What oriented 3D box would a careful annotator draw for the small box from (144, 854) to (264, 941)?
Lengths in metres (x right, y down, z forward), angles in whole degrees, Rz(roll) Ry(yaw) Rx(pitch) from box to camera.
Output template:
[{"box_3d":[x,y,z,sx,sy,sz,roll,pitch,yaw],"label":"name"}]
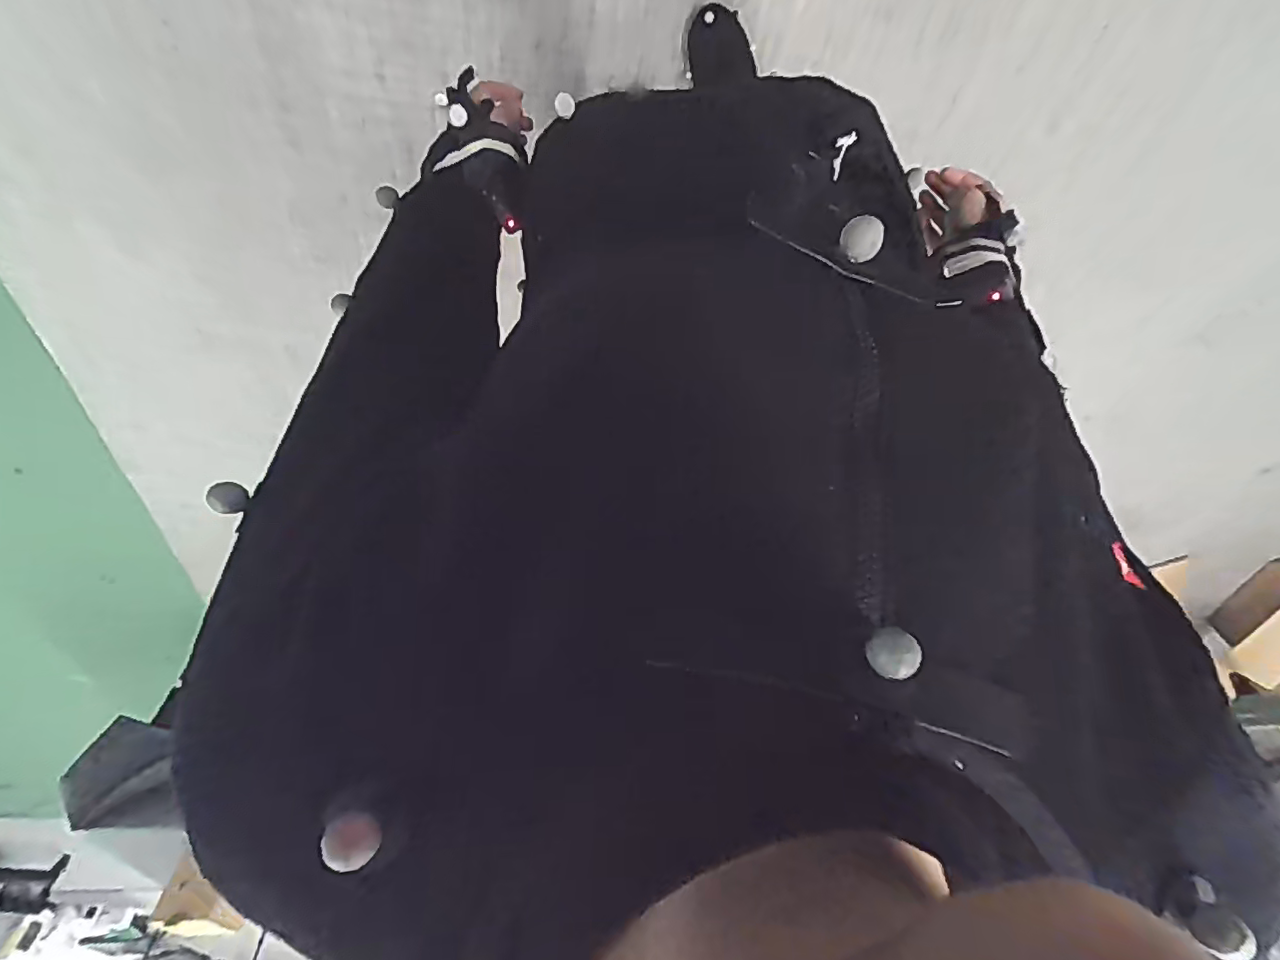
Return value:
[{"box_3d":[-1.219,1.175,1.527,0.168,0.176,0.179,-3,132,1],"label":"small box"}]
